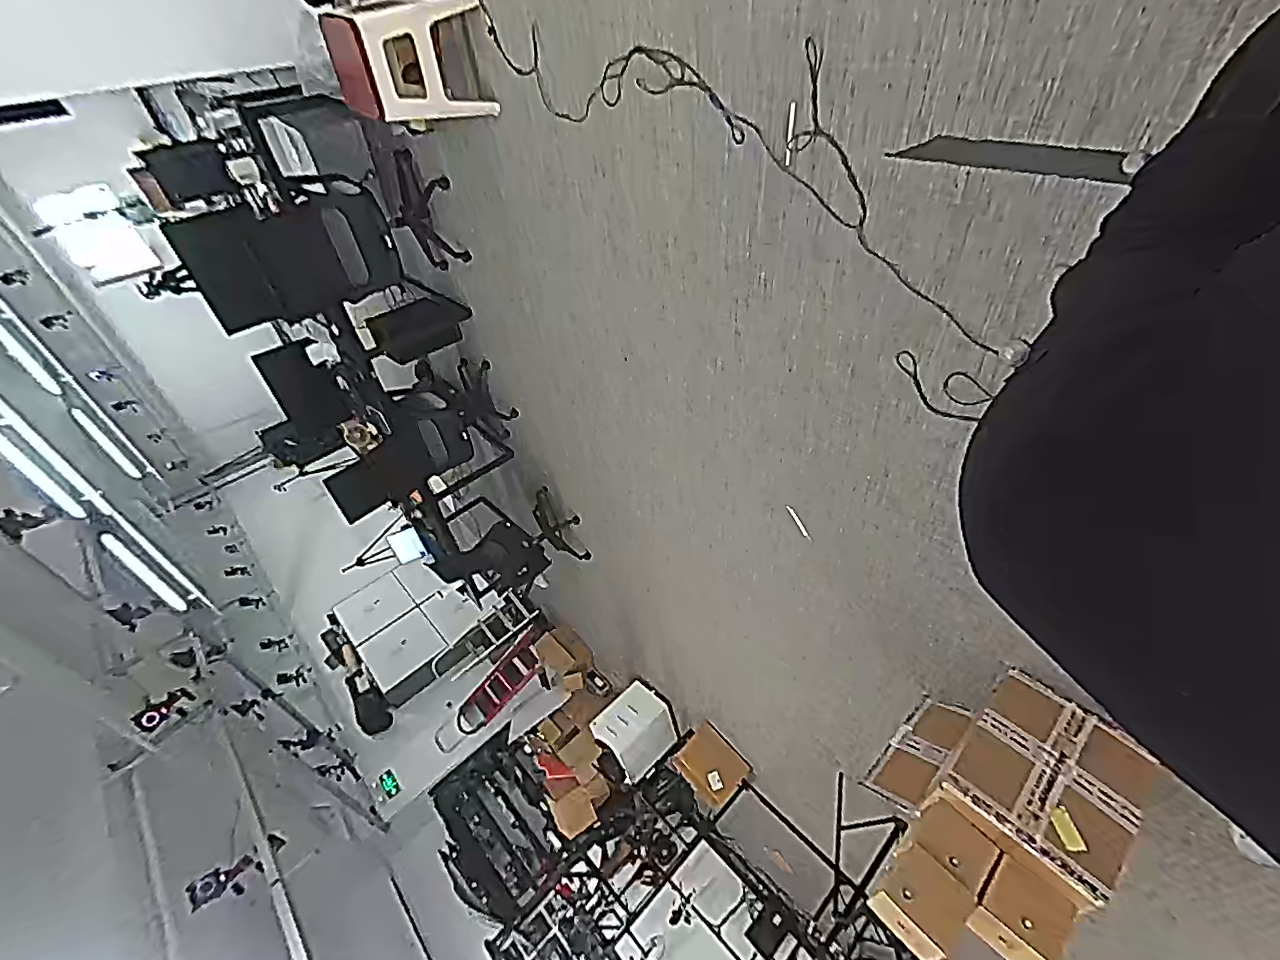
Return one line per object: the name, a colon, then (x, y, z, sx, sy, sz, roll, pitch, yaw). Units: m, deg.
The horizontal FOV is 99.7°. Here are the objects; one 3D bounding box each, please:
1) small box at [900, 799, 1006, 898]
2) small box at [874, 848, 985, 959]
small box: (0.879, 1.047, 1.518, 0.179, 0.176, 0.168, 39, 147, 32)
small box: (0.758, 1.110, 1.423, 0.179, 0.176, 0.168, 37, 146, 34)
